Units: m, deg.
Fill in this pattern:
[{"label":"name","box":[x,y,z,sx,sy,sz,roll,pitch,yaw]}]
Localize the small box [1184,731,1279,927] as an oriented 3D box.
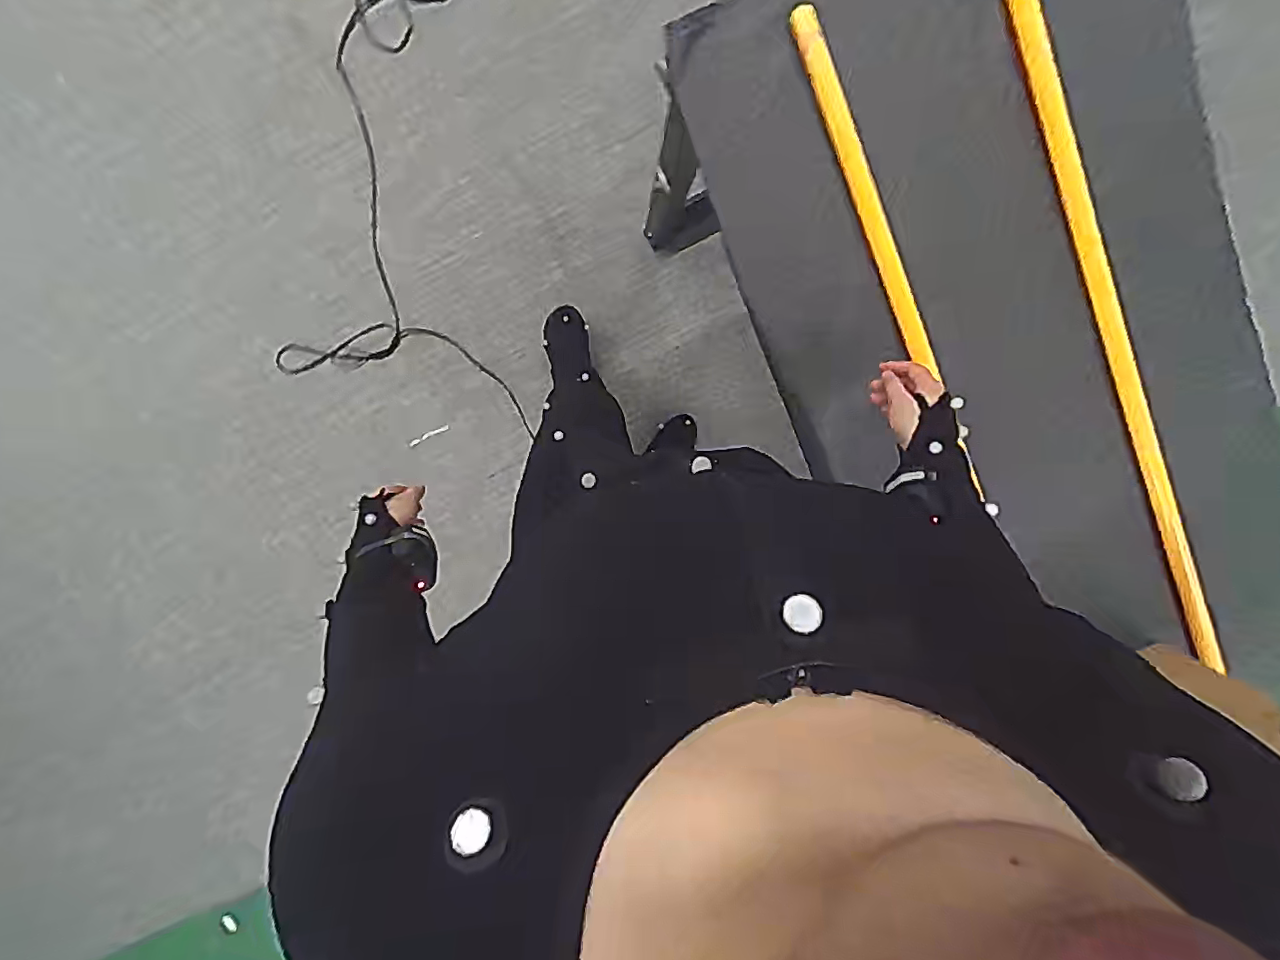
[{"label":"small box","box":[0.764,0.406,0.596,0.168,0.176,0.179,-21,101,2]}]
